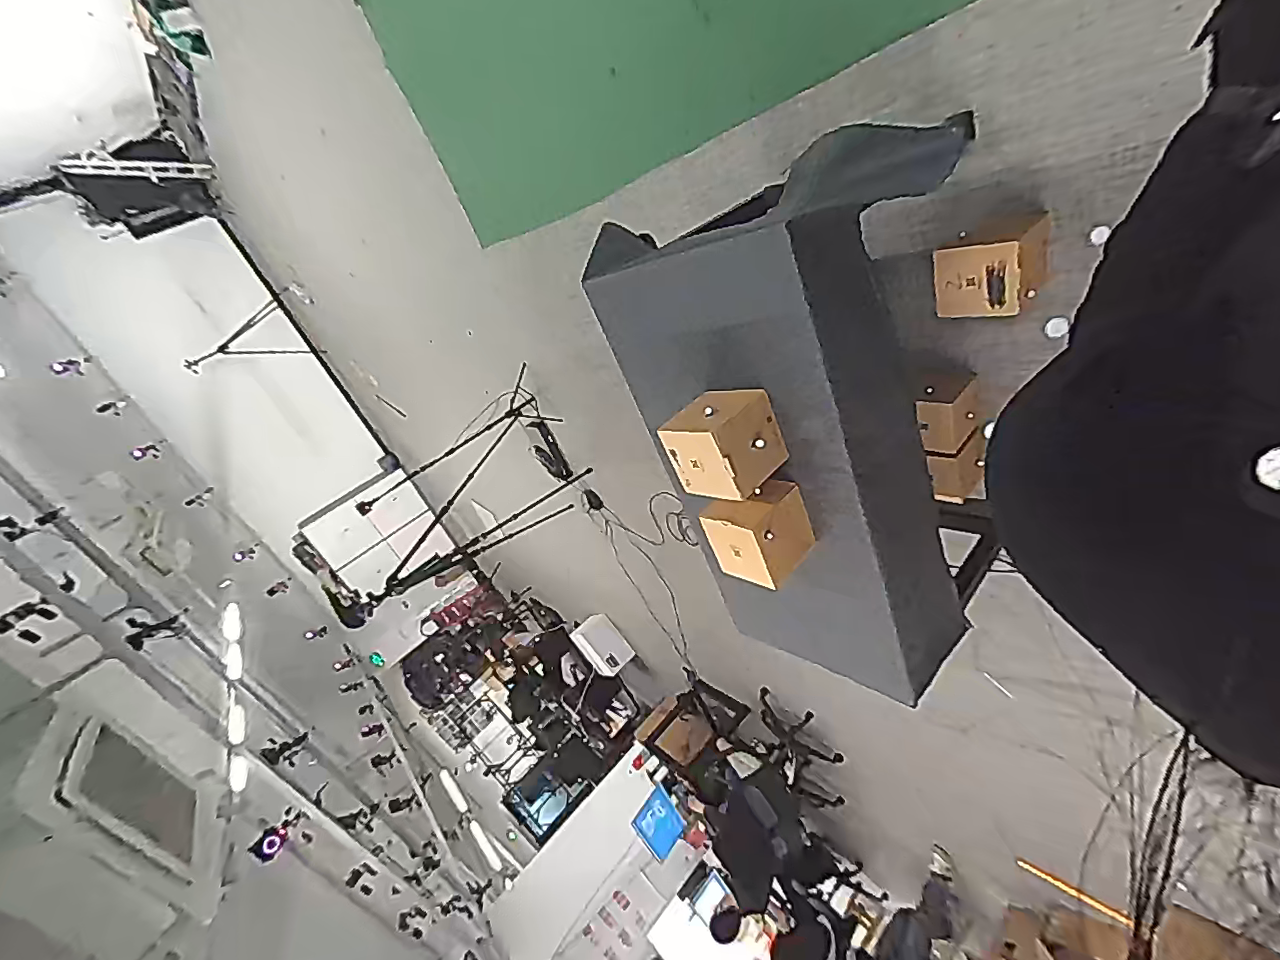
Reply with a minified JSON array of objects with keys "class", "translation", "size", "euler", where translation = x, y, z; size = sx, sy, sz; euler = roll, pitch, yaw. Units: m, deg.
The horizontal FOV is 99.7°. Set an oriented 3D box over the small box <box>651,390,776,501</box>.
[{"class":"small box","translation":[0.162,-0.076,1.129],"size":[0.179,0.176,0.168],"euler":[8,131,52]}]
